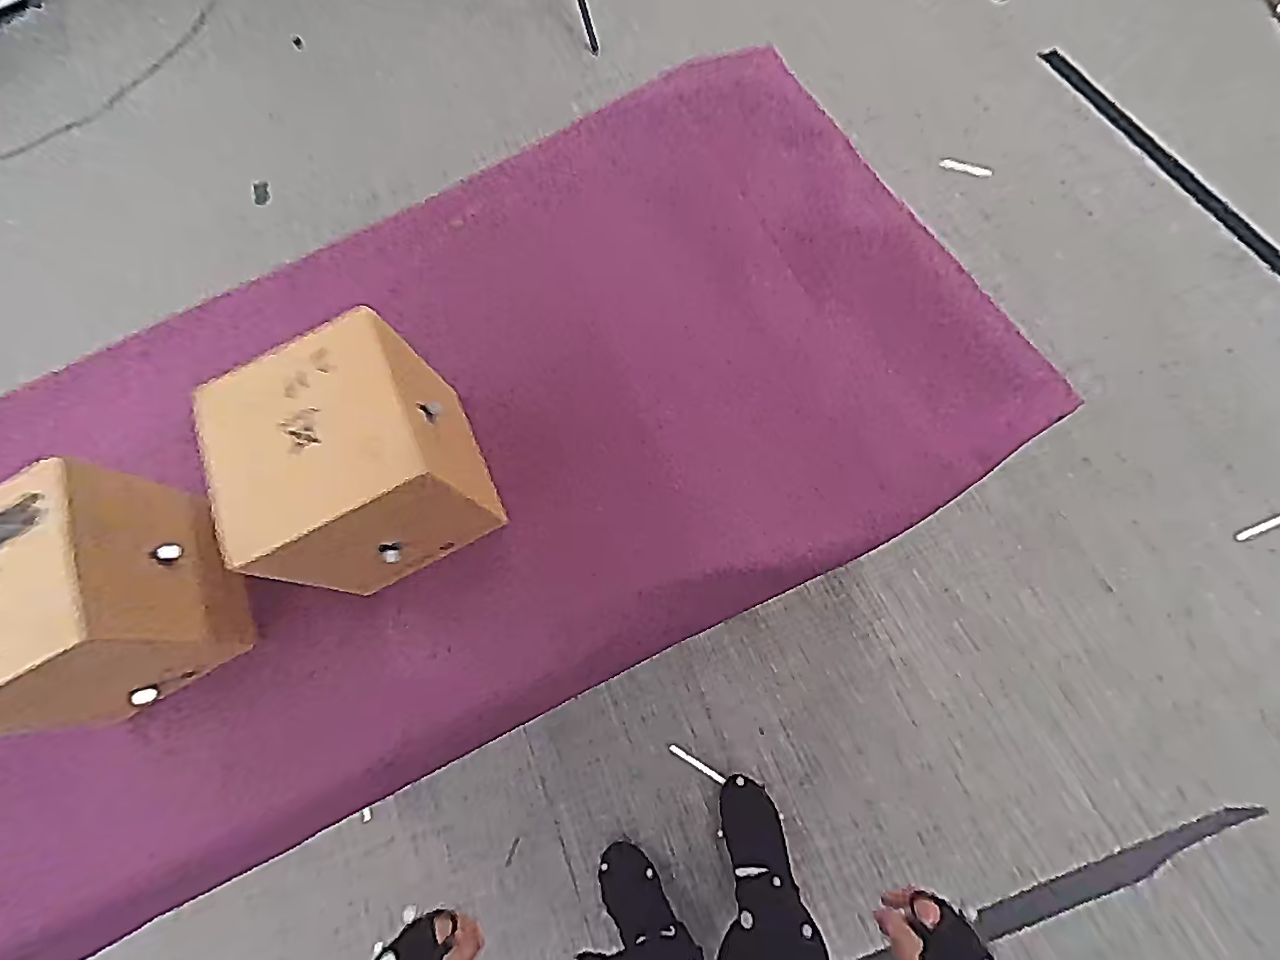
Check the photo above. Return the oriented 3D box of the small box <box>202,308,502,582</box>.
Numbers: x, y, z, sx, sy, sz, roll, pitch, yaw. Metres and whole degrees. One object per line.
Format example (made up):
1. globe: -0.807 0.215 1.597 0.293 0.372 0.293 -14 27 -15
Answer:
1. small box: -0.253 -0.016 0.508 0.168 0.176 0.179 -27 70 -2
